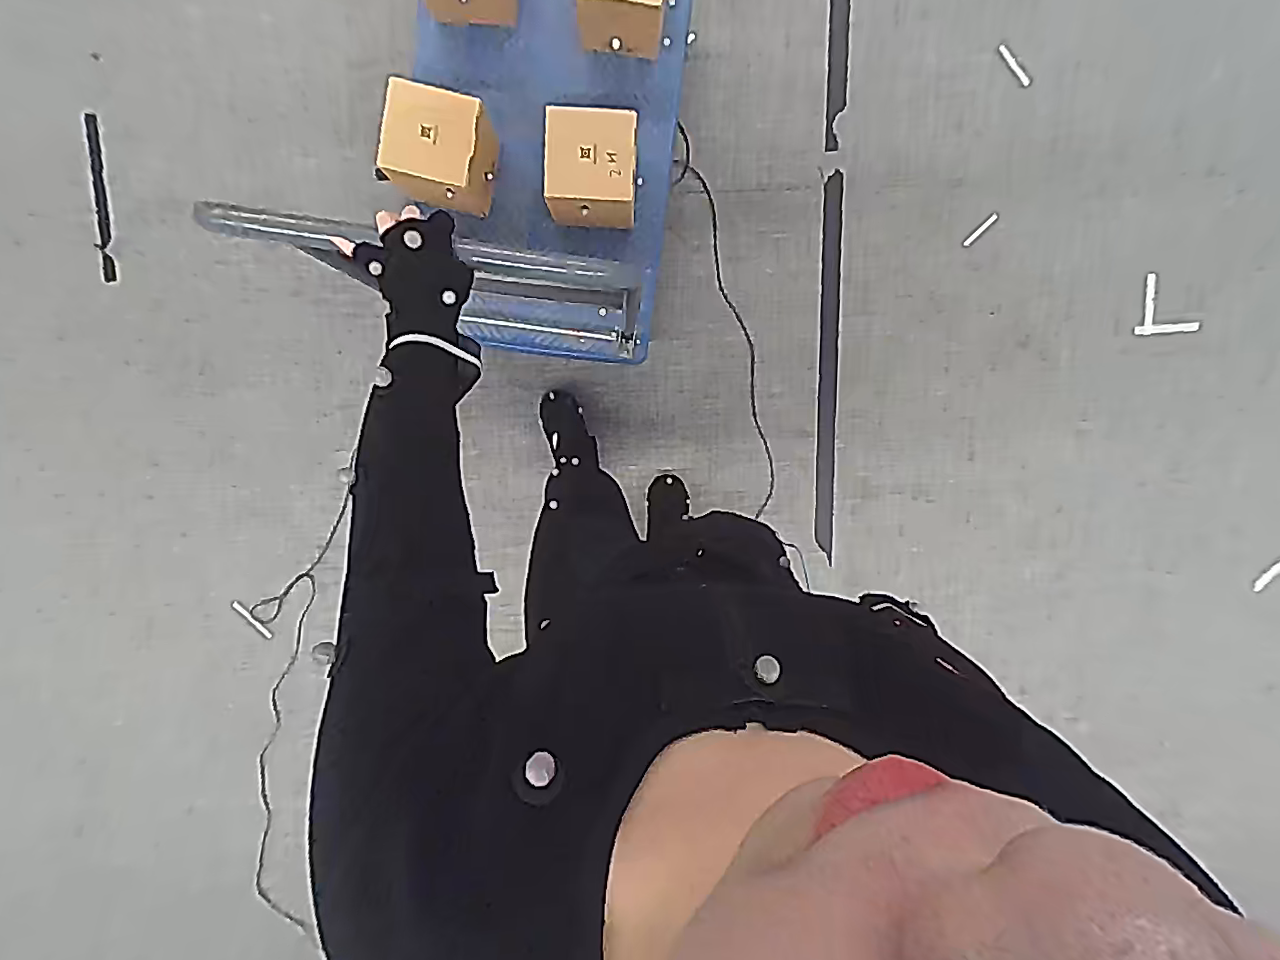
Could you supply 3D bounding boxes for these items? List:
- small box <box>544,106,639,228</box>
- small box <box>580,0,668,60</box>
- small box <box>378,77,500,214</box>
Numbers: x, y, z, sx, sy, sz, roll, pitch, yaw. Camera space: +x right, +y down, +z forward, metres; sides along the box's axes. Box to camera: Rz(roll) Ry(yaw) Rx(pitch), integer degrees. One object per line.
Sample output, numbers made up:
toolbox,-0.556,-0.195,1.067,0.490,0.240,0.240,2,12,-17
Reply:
small box,-0.095,-0.636,1.116,0.179,0.176,0.168,3,98,-2
small box,-0.026,-0.988,1.068,0.168,0.176,0.179,8,99,-2
small box,-0.401,-0.670,1.105,0.179,0.176,0.168,12,97,-5
